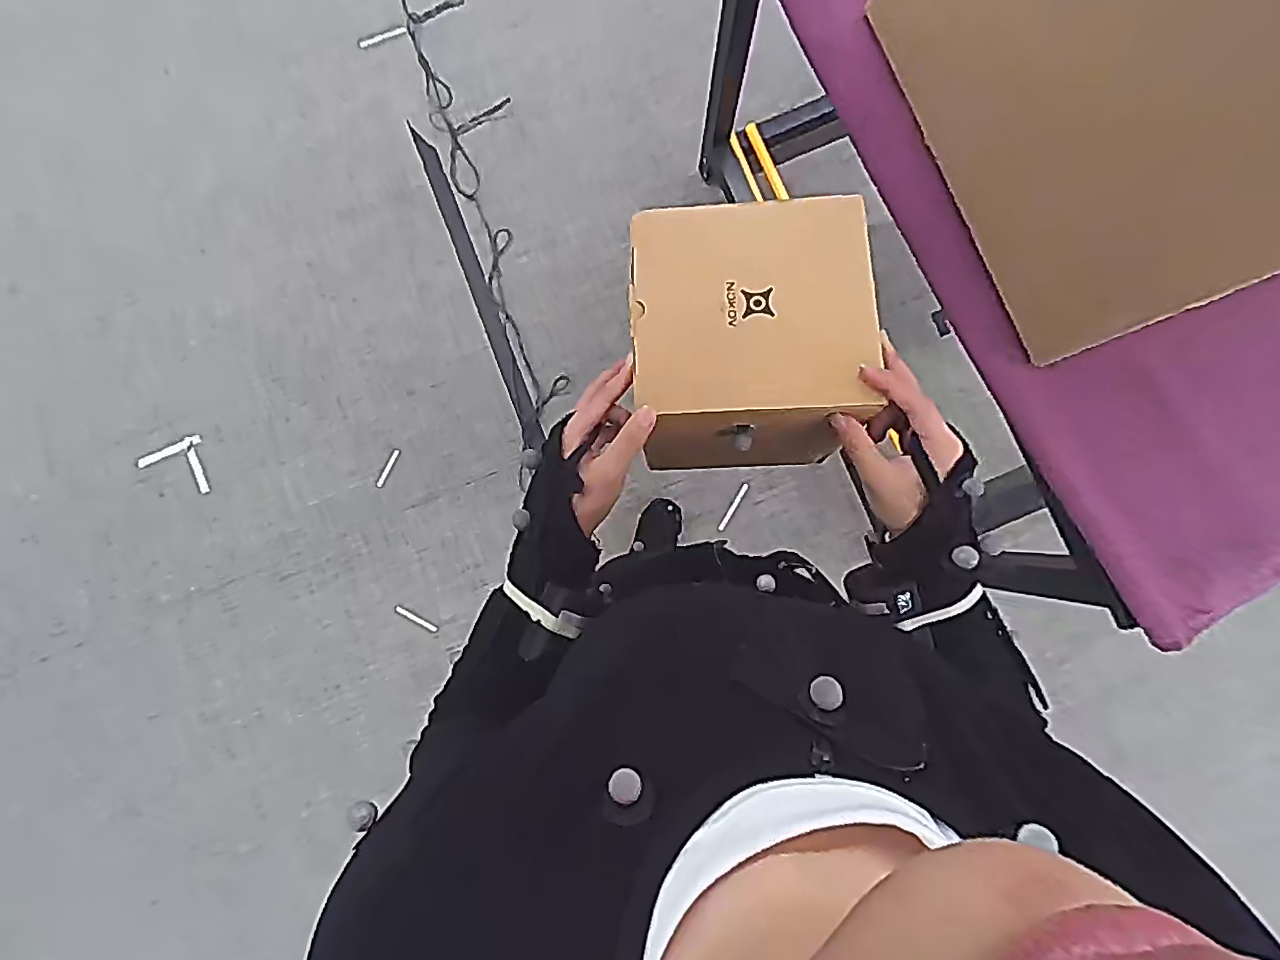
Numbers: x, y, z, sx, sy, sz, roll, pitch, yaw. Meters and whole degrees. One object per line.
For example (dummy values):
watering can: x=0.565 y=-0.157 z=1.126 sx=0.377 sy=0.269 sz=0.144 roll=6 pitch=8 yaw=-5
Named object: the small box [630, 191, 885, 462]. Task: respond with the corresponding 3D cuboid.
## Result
small box: x=0.086 y=-0.114 z=0.466 sx=0.179 sy=0.176 sz=0.168 roll=-2 pitch=78 yaw=5
